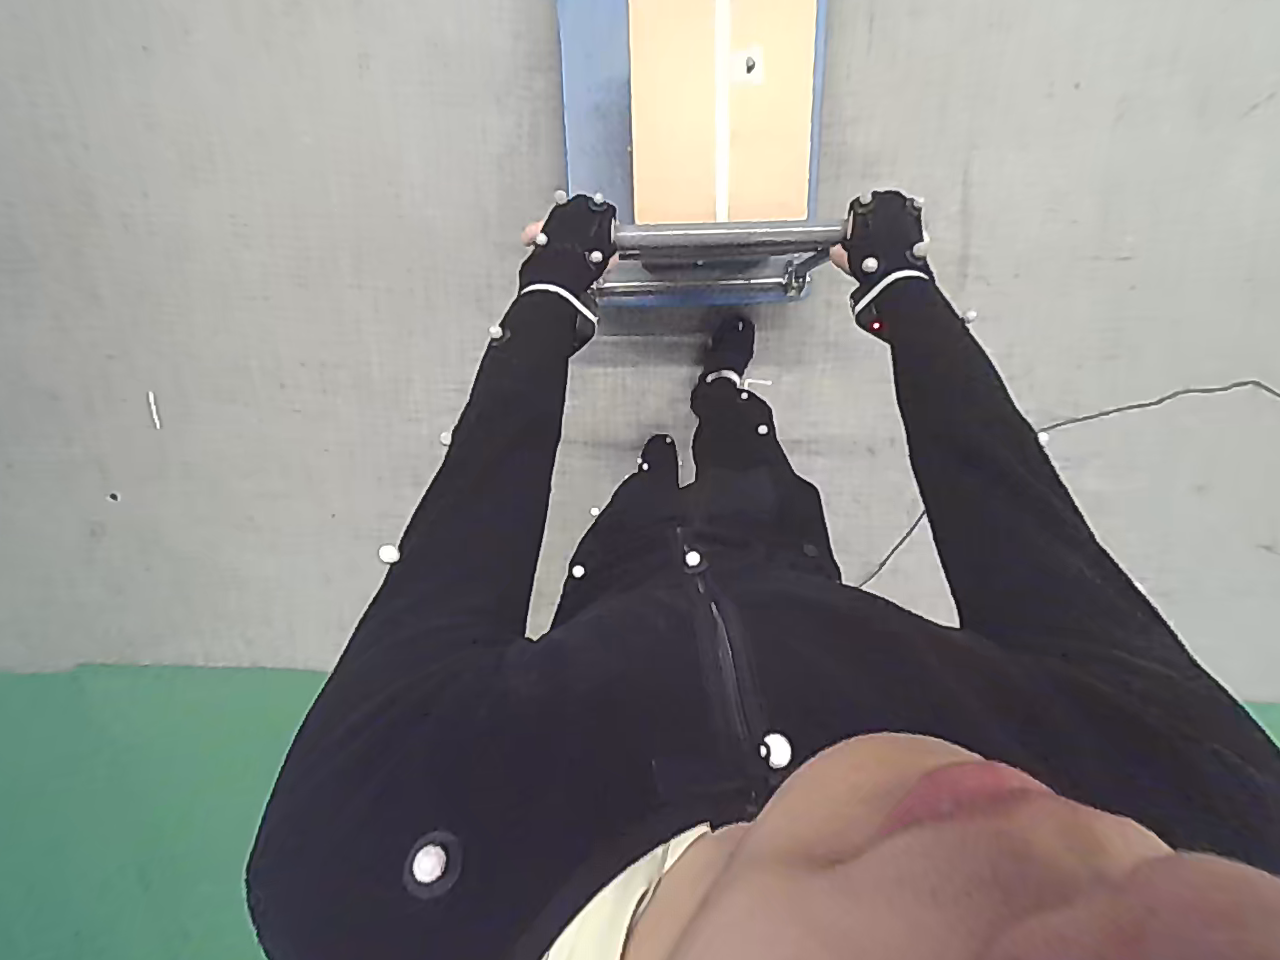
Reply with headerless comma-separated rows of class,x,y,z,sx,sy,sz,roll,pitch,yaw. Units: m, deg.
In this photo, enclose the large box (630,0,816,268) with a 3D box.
large box,0.152,-0.662,1.076,0.320,0.320,0.408,-2,103,2
